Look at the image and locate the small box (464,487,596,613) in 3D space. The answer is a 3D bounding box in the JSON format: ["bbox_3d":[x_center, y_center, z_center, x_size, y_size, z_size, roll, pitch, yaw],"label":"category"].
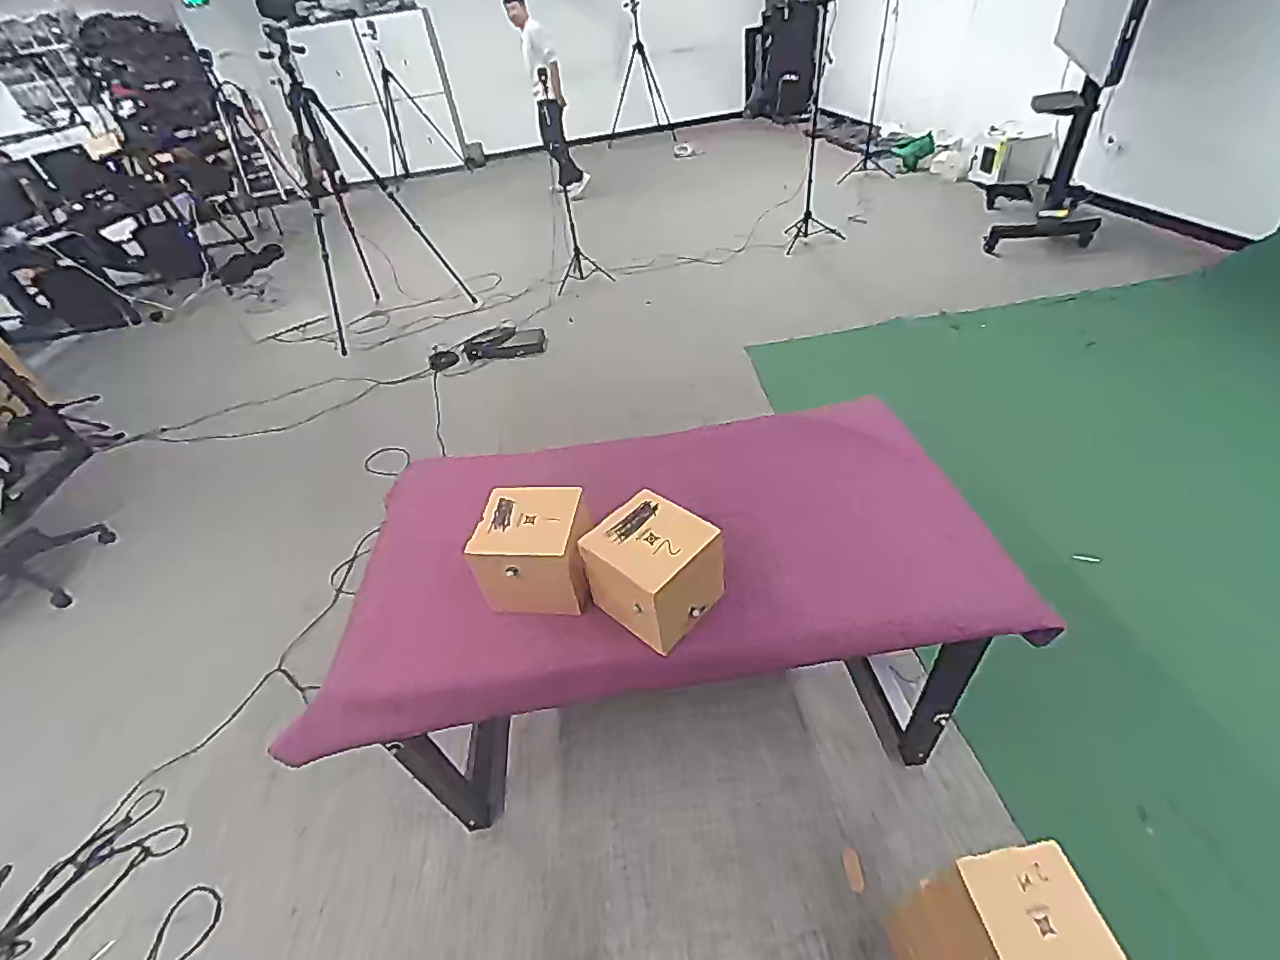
[{"bbox_3d":[-0.191,0.130,0.995,0.179,0.176,0.168,0,42,9],"label":"small box"}]

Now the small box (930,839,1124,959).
[{"bbox_3d":[0.582,0.687,0.832,0.168,0.176,0.179,-10,42,-1],"label":"small box"}]
